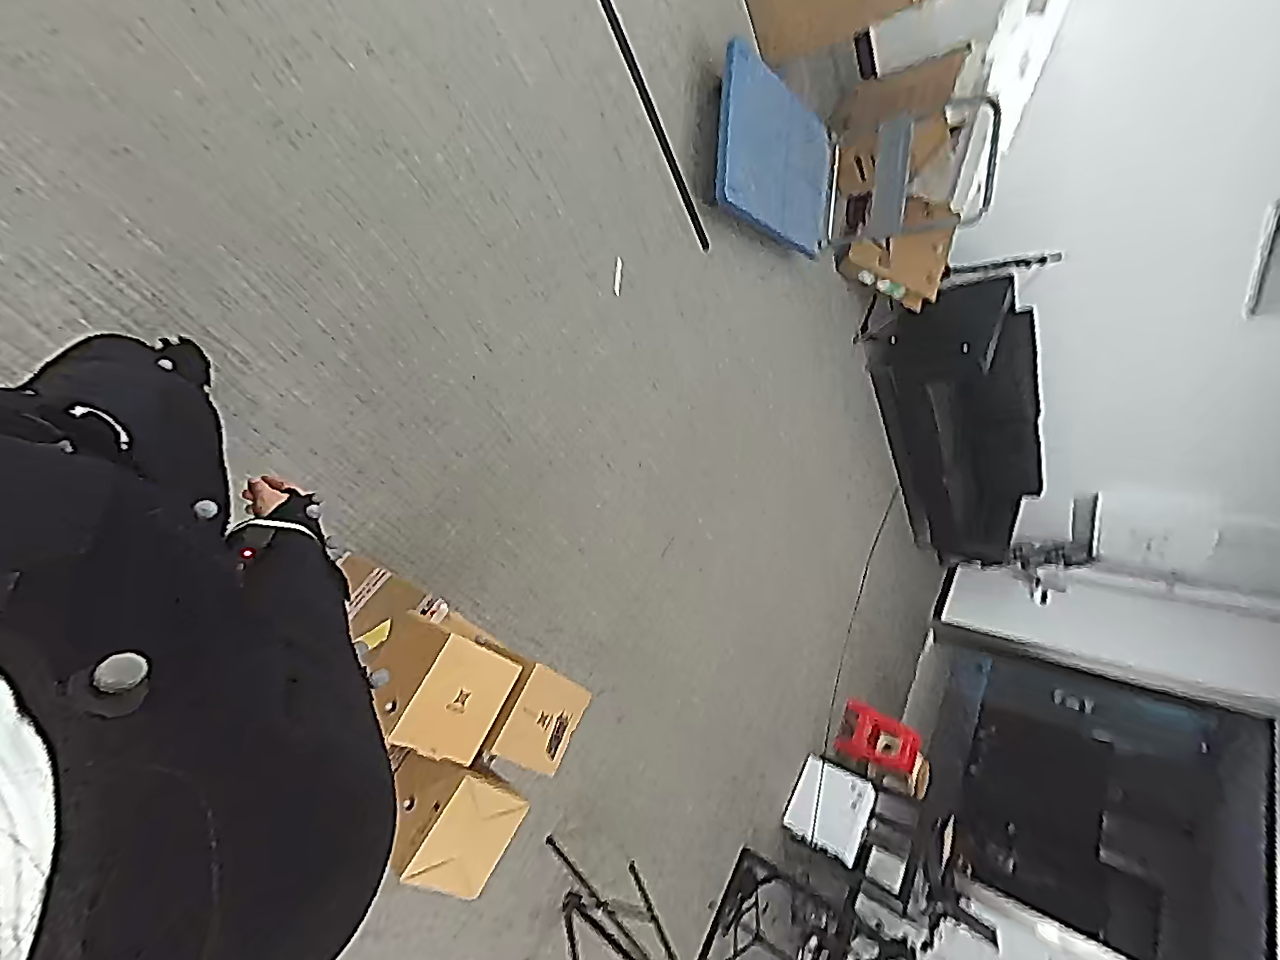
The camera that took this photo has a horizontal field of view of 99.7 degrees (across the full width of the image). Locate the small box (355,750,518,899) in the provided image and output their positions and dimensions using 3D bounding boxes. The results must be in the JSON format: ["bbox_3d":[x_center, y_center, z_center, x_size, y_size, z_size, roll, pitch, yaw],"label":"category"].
[{"bbox_3d":[-0.350,0.591,0.951,0.168,0.176,0.179,-56,131,-23],"label":"small box"}]

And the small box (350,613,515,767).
[{"bbox_3d":[-0.356,0.350,0.923,0.168,0.176,0.179,46,62,-39],"label":"small box"}]
